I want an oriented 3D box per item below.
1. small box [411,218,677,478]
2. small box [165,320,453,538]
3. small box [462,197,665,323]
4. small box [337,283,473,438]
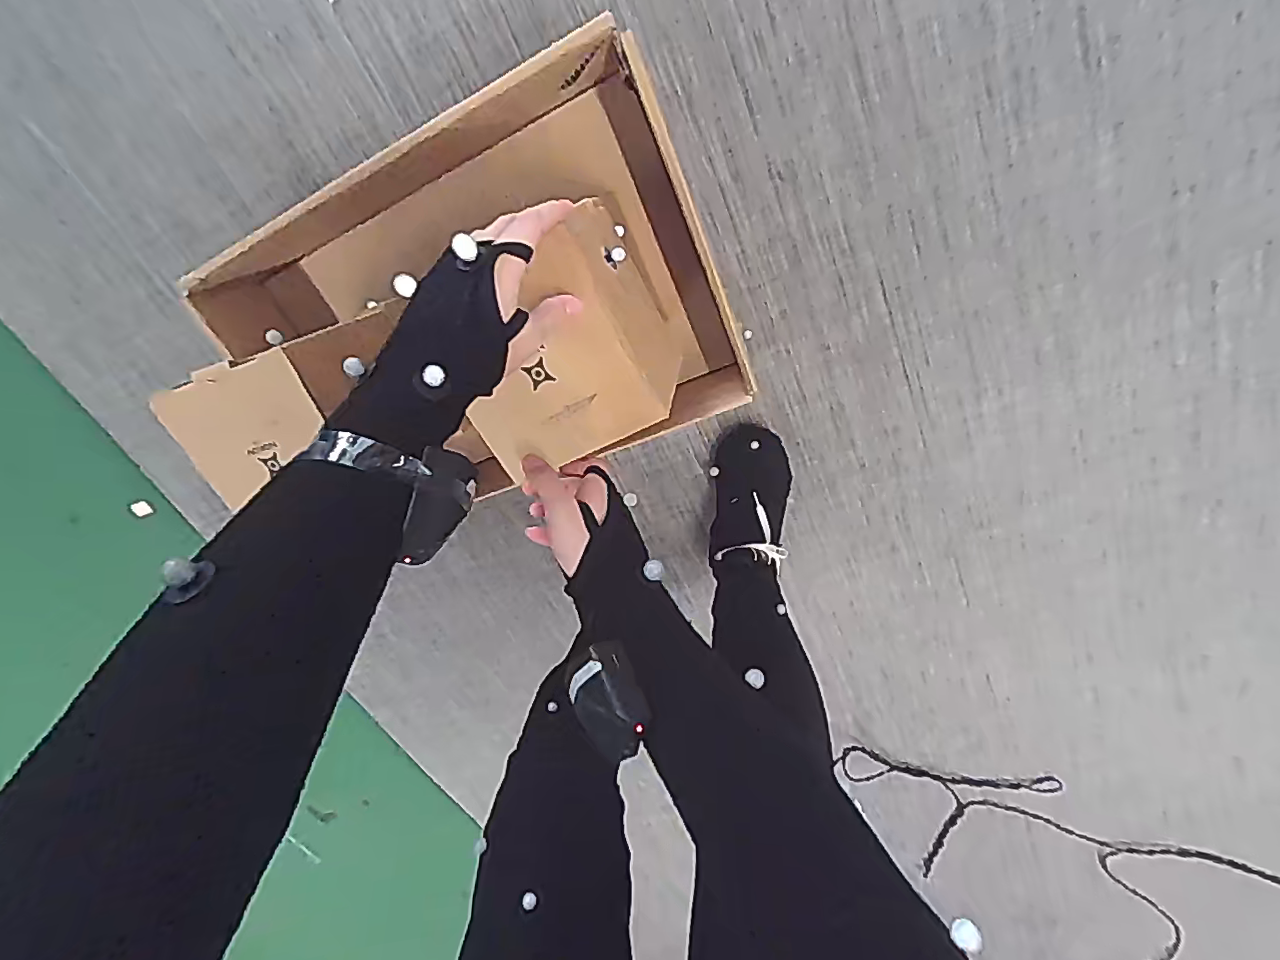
[{"bbox_3d":[-0.075,-0.136,0.531,0.168,0.176,0.179,-22,114,20],"label":"small box"},{"bbox_3d":[-0.342,-0.066,0.599,0.168,0.176,0.179,-14,115,14],"label":"small box"},{"bbox_3d":[-0.077,-0.226,0.669,0.168,0.176,0.179,-19,115,17],"label":"small box"},{"bbox_3d":[-0.318,-0.145,0.740,0.168,0.176,0.179,-20,115,16],"label":"small box"}]
